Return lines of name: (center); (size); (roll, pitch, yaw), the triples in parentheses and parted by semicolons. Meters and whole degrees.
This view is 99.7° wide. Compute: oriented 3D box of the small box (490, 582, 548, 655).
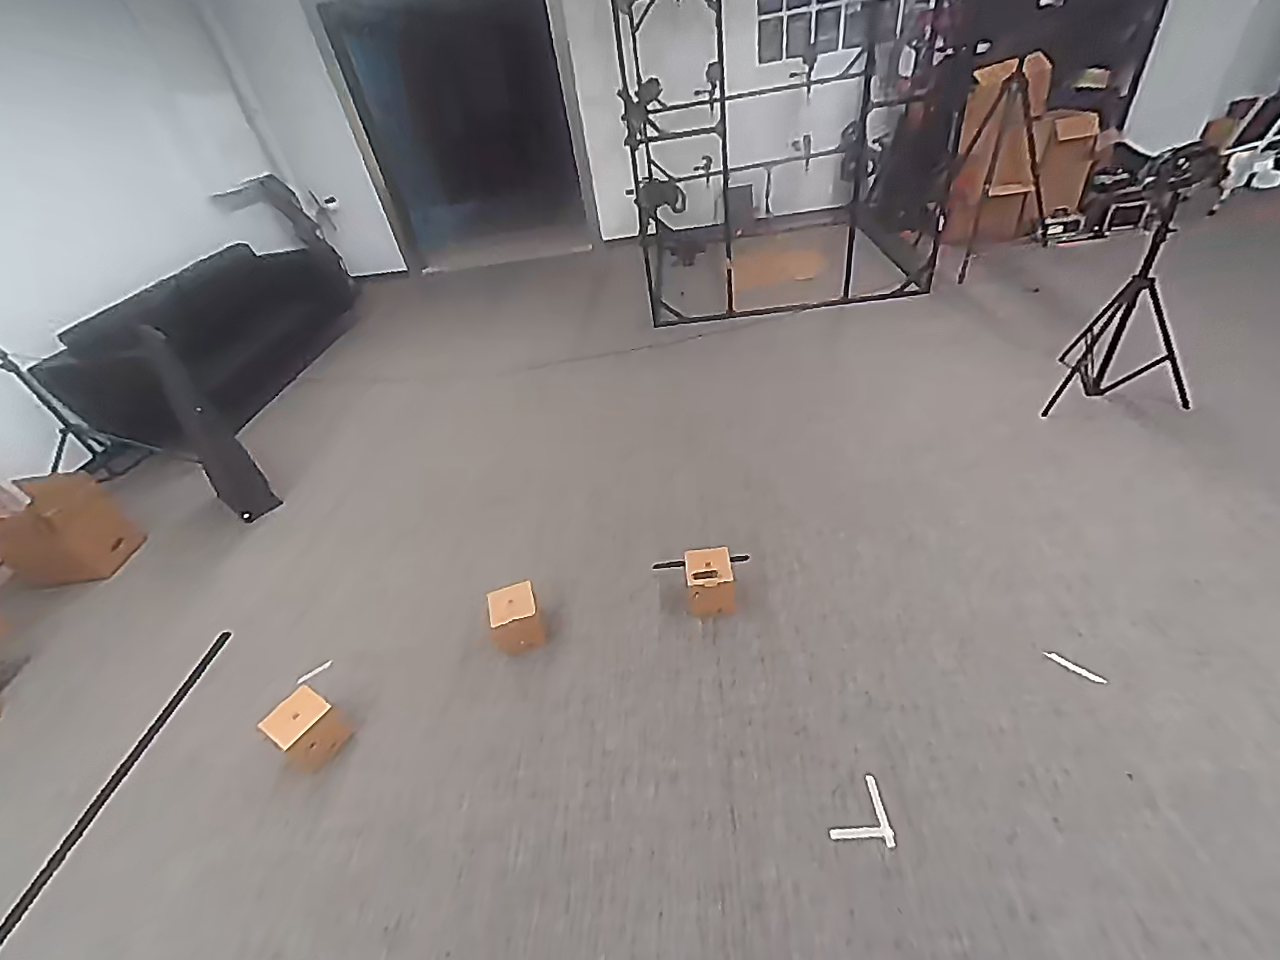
small box: (-0.453, 0.517, 2.022); (0.168, 0.176, 0.179); (-17, 38, -8)

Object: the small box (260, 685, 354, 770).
small box: (-1.087, 0.819, 1.779); (0.179, 0.176, 0.168); (16, 45, 30)
